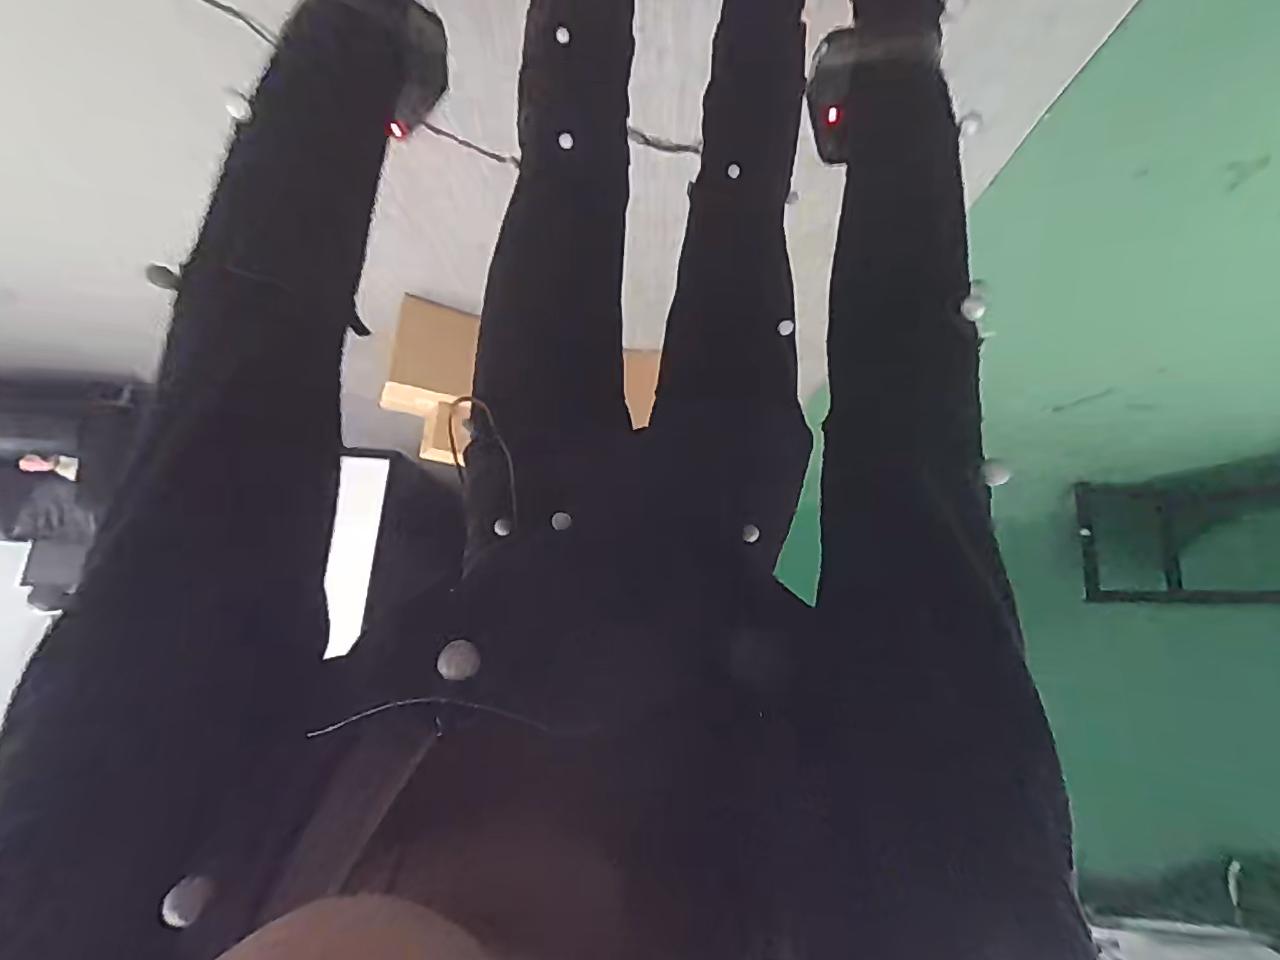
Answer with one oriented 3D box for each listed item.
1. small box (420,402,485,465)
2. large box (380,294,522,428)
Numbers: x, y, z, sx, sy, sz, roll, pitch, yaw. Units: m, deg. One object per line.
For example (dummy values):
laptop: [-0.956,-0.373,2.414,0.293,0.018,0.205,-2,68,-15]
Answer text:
small box: [-0.660,-0.159,1.909,0.168,0.176,0.179,12,166,-32]
large box: [-0.675,-0.406,1.931,0.408,0.320,0.320,12,165,-27]
